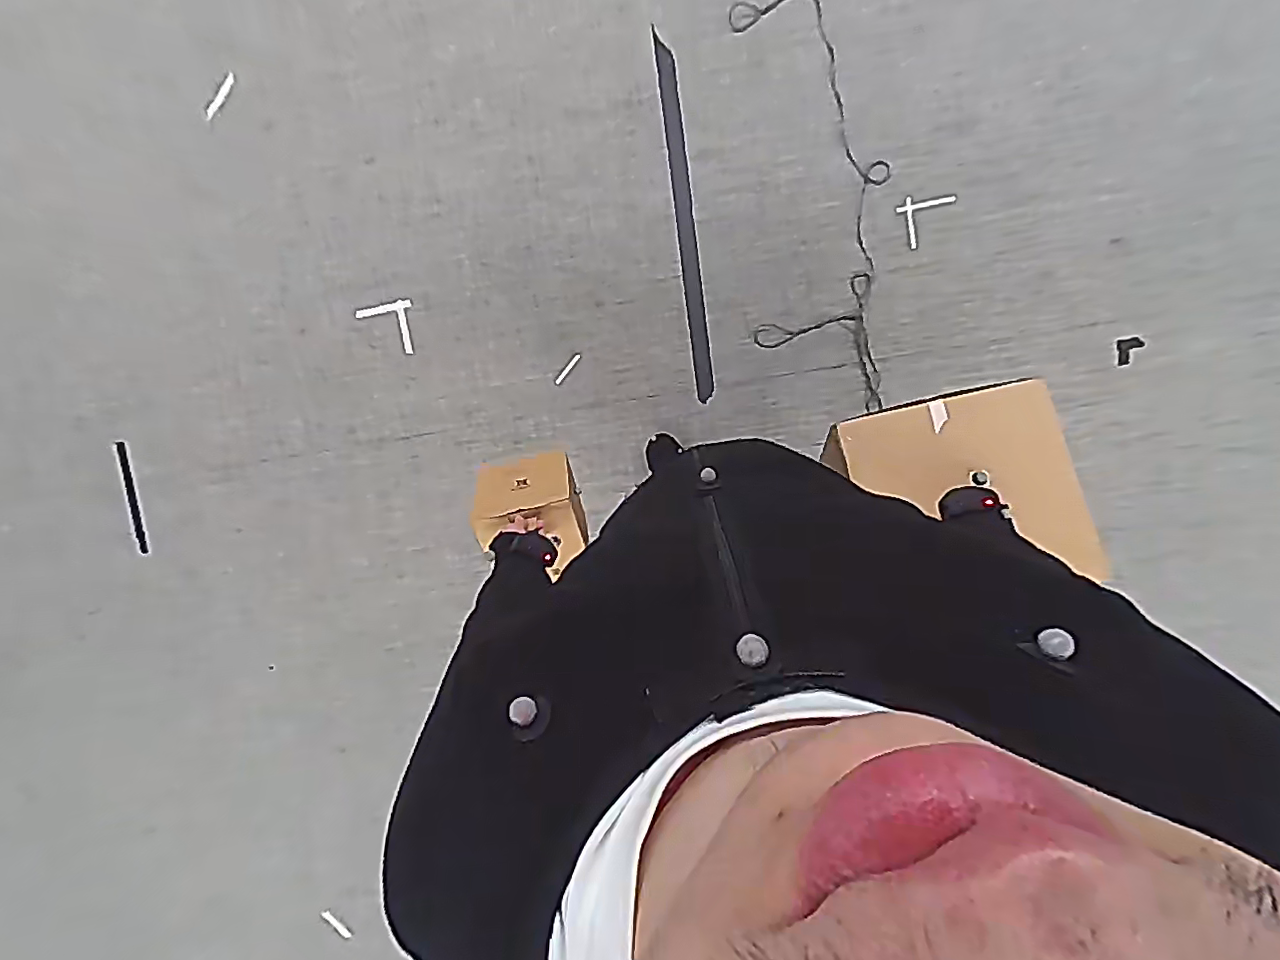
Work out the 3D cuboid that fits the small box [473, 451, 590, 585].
[{"bbox_3d":[-0.194,0.074,0.998,0.168,0.179,0.176,-14,121,-3],"label":"small box"}]
